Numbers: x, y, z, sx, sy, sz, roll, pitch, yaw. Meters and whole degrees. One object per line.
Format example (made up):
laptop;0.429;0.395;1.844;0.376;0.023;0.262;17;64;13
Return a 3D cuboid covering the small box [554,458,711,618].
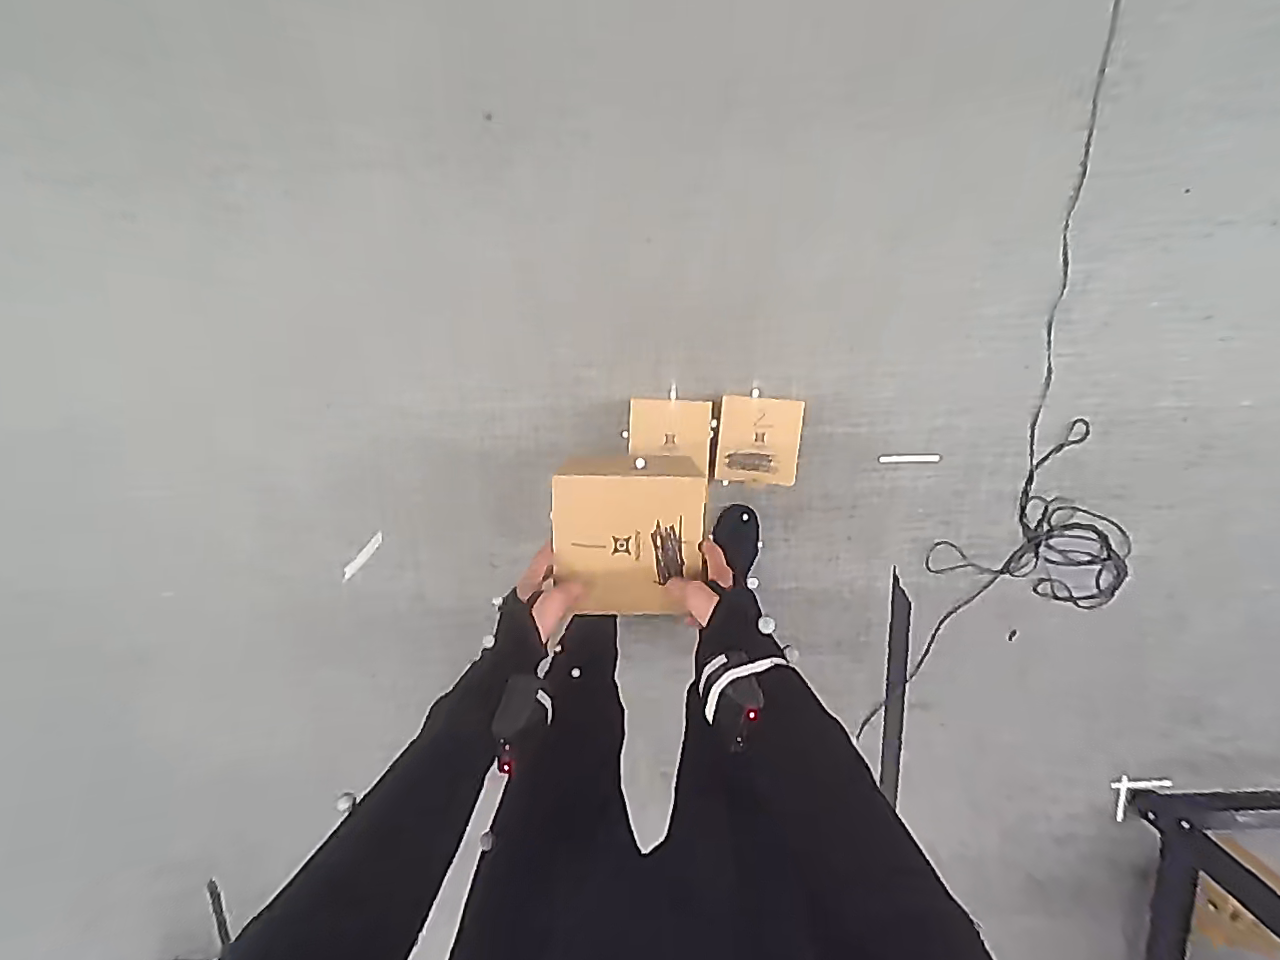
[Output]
small box;-0.013;0.064;0.690;0.179;0.176;0.168;1;100;-1
